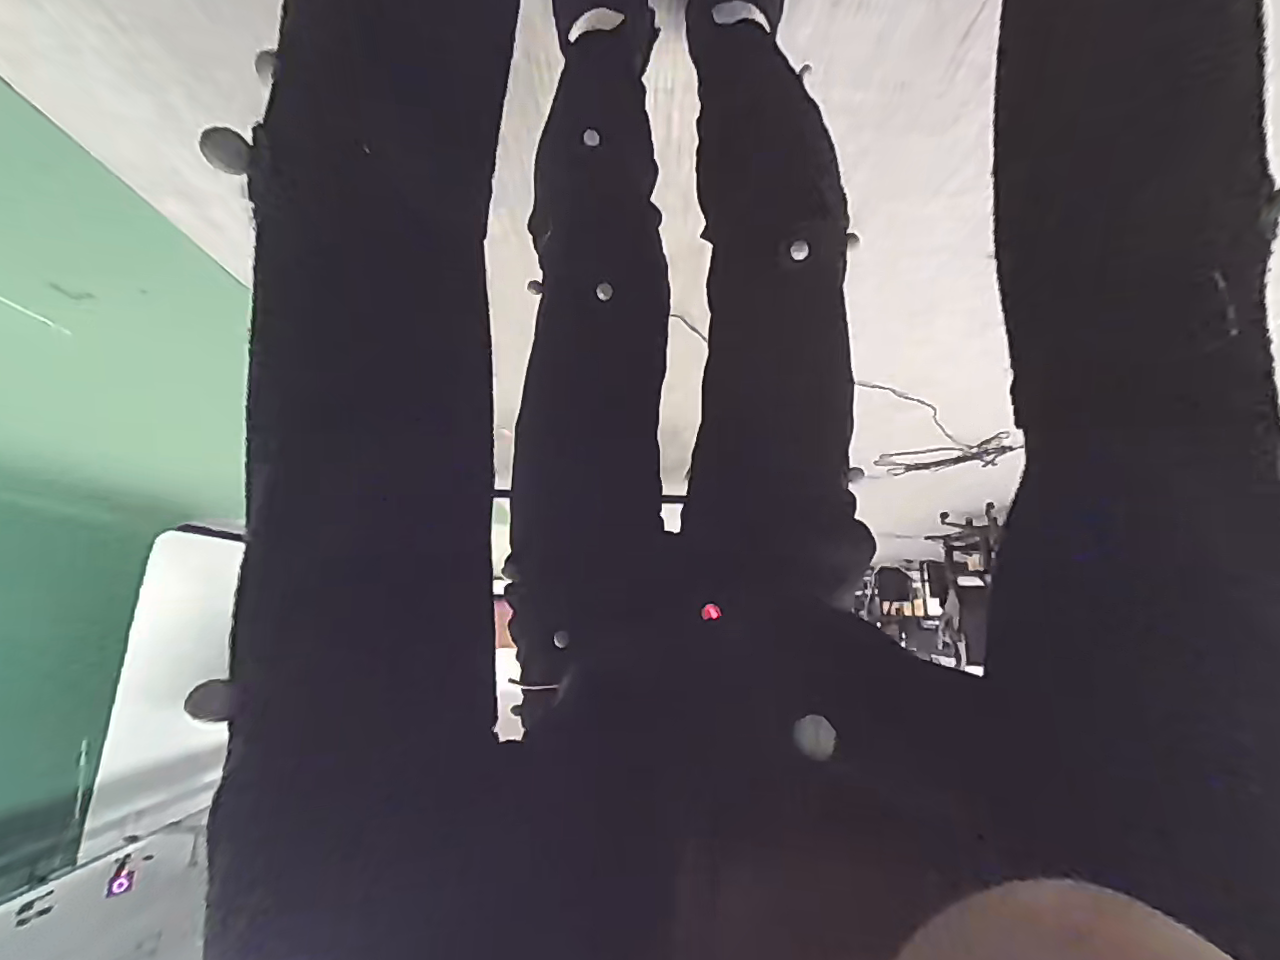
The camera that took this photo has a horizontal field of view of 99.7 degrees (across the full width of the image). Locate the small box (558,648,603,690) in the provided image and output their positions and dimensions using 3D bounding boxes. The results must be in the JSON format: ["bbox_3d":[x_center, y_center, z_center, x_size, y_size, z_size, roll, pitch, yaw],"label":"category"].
[{"bbox_3d":[-0.266,0.837,2.421,0.179,0.176,0.168,5,166,-14],"label":"small box"}]

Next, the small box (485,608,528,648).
[{"bbox_3d":[-0.599,0.666,2.444,0.168,0.176,0.179,2,166,-6],"label":"small box"}]
